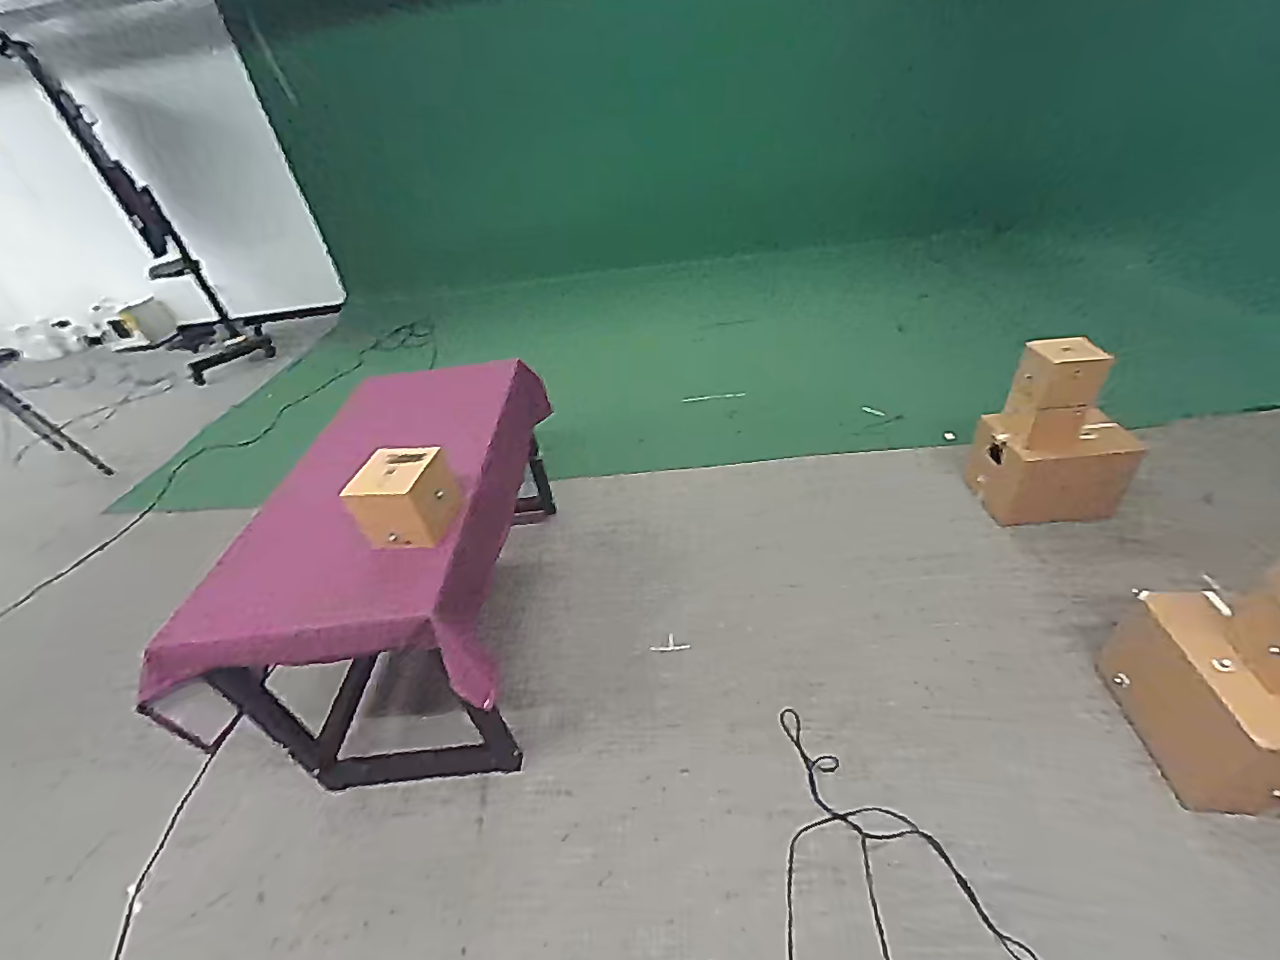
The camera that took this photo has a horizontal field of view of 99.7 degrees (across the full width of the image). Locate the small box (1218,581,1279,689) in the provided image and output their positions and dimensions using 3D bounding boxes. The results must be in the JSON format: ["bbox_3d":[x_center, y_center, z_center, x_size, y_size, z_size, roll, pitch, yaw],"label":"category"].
[{"bbox_3d":[1.425,0.342,1.158,0.168,0.176,0.179,2,38,11],"label":"small box"}]

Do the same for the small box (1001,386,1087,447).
[{"bbox_3d":[1.408,-0.226,1.906,0.179,0.176,0.168,-4,37,5],"label":"small box"}]

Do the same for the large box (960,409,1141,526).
[{"bbox_3d":[1.524,-0.049,2.055,0.408,0.320,0.320,-5,37,4],"label":"large box"}]

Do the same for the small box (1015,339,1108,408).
[{"bbox_3d":[1.387,-0.352,1.800,0.179,0.176,0.168,-4,38,5],"label":"small box"}]
